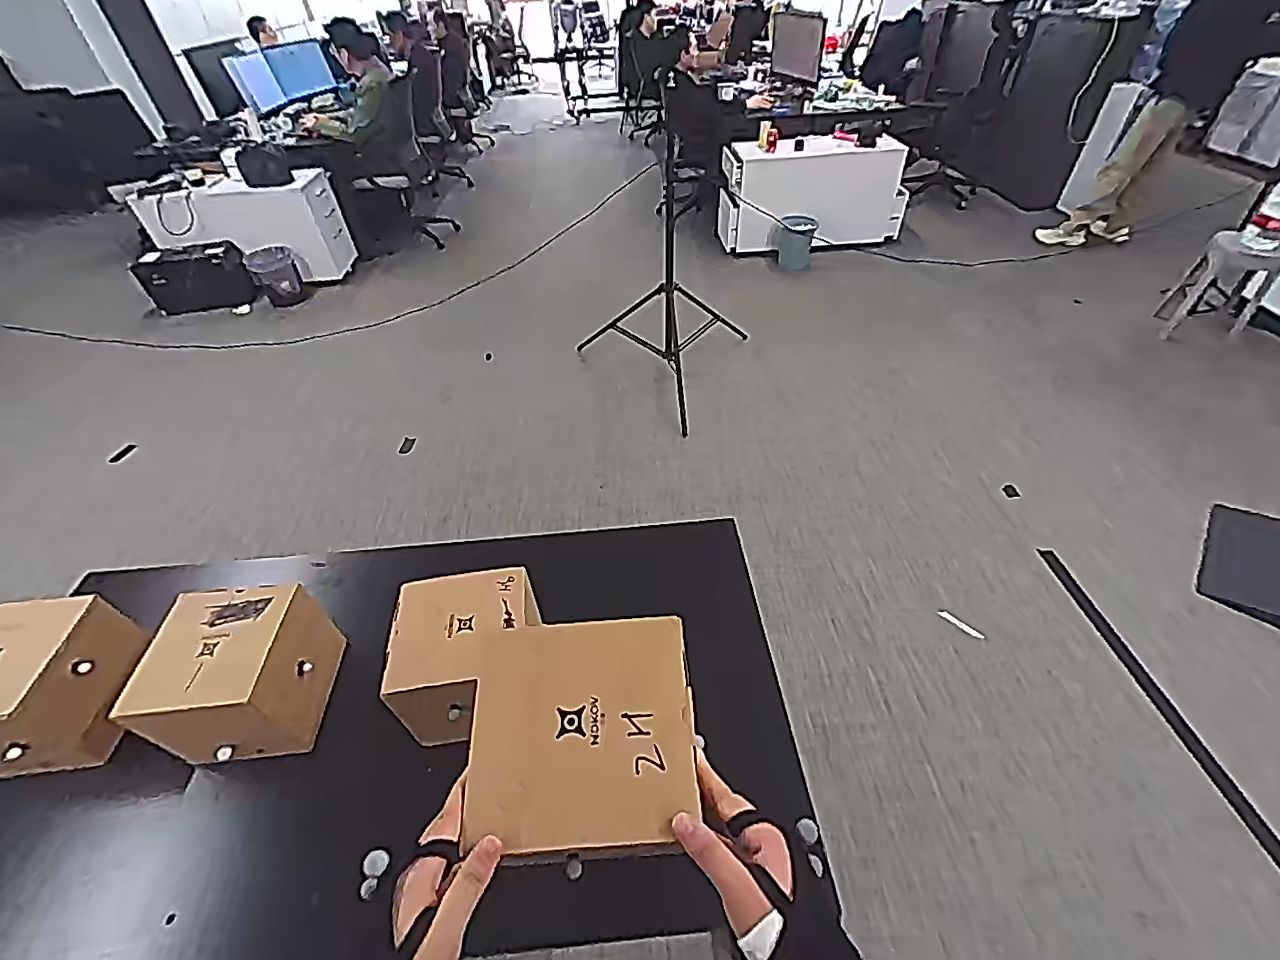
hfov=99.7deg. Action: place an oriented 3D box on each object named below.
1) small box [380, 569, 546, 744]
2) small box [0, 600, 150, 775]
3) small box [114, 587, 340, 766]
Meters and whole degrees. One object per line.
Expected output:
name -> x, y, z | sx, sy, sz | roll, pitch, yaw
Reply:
small box -> -0.237, 0.254, 0.771 | 0.179, 0.176, 0.168 | -8, 44, -5
small box -> -0.841, 0.295, 0.760 | 0.168, 0.176, 0.179 | -5, 43, -4
small box -> -0.555, 0.276, 0.763 | 0.168, 0.176, 0.179 | -6, 45, -2
